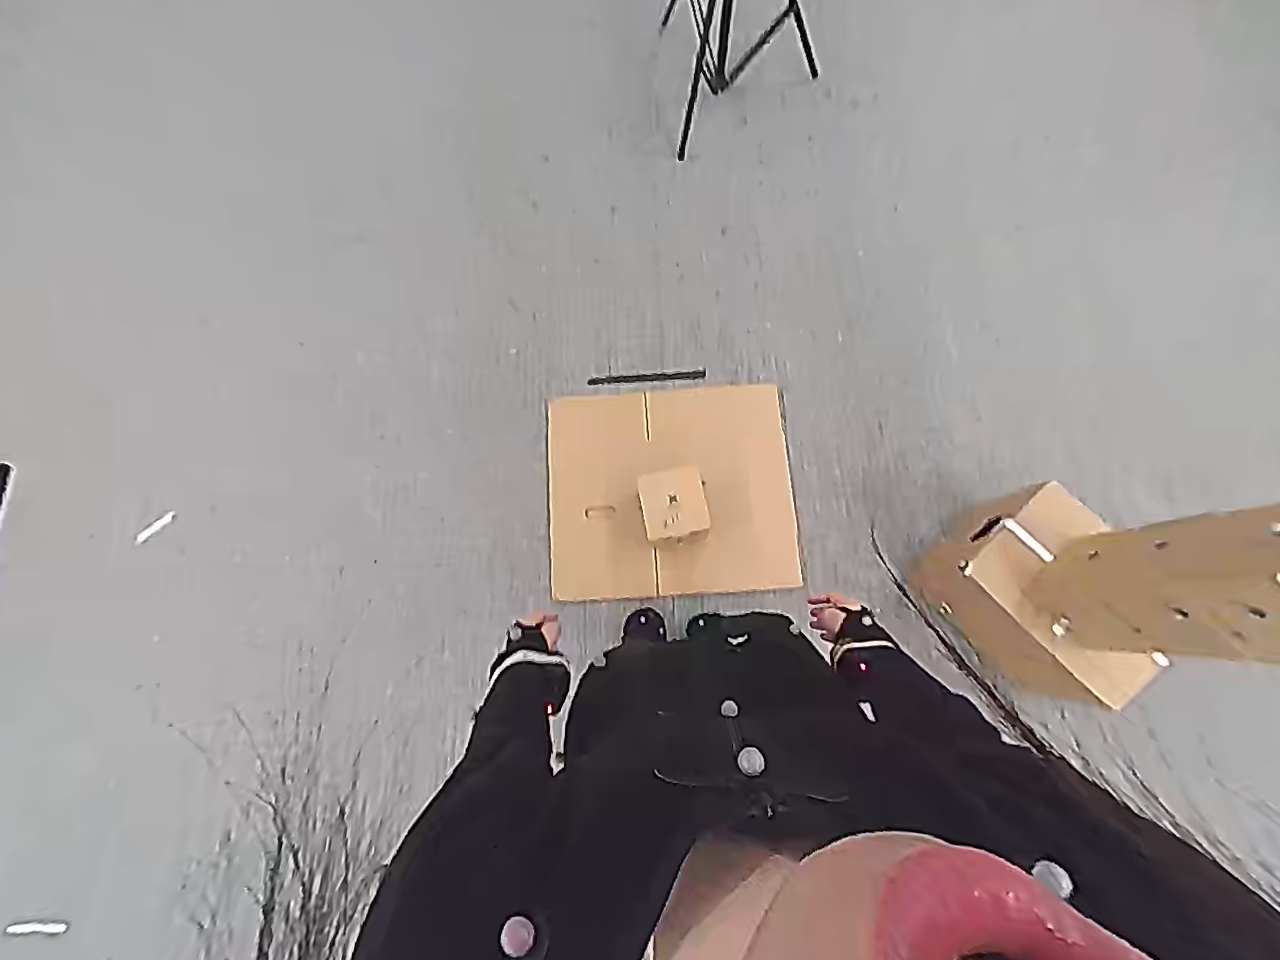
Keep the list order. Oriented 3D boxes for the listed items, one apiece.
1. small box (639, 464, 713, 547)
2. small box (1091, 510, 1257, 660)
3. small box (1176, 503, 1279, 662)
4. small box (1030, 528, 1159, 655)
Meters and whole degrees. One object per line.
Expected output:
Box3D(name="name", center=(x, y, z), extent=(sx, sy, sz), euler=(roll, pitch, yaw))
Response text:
Box3D(name="small box", center=(0.095, 0.074, 1.458), extent=(0.168, 0.176, 0.179), euler=(-12, 76, 2))
Box3D(name="small box", center=(0.937, 0.179, 0.921), extent=(0.179, 0.176, 0.168), euler=(-42, 78, -8))
Box3D(name="small box", center=(0.932, 0.144, 0.762), extent=(0.179, 0.176, 0.168), euler=(-42, 78, -8))
Box3D(name="small box", center=(0.941, 0.221, 1.079), extent=(0.179, 0.176, 0.168), euler=(-42, 78, -7))
